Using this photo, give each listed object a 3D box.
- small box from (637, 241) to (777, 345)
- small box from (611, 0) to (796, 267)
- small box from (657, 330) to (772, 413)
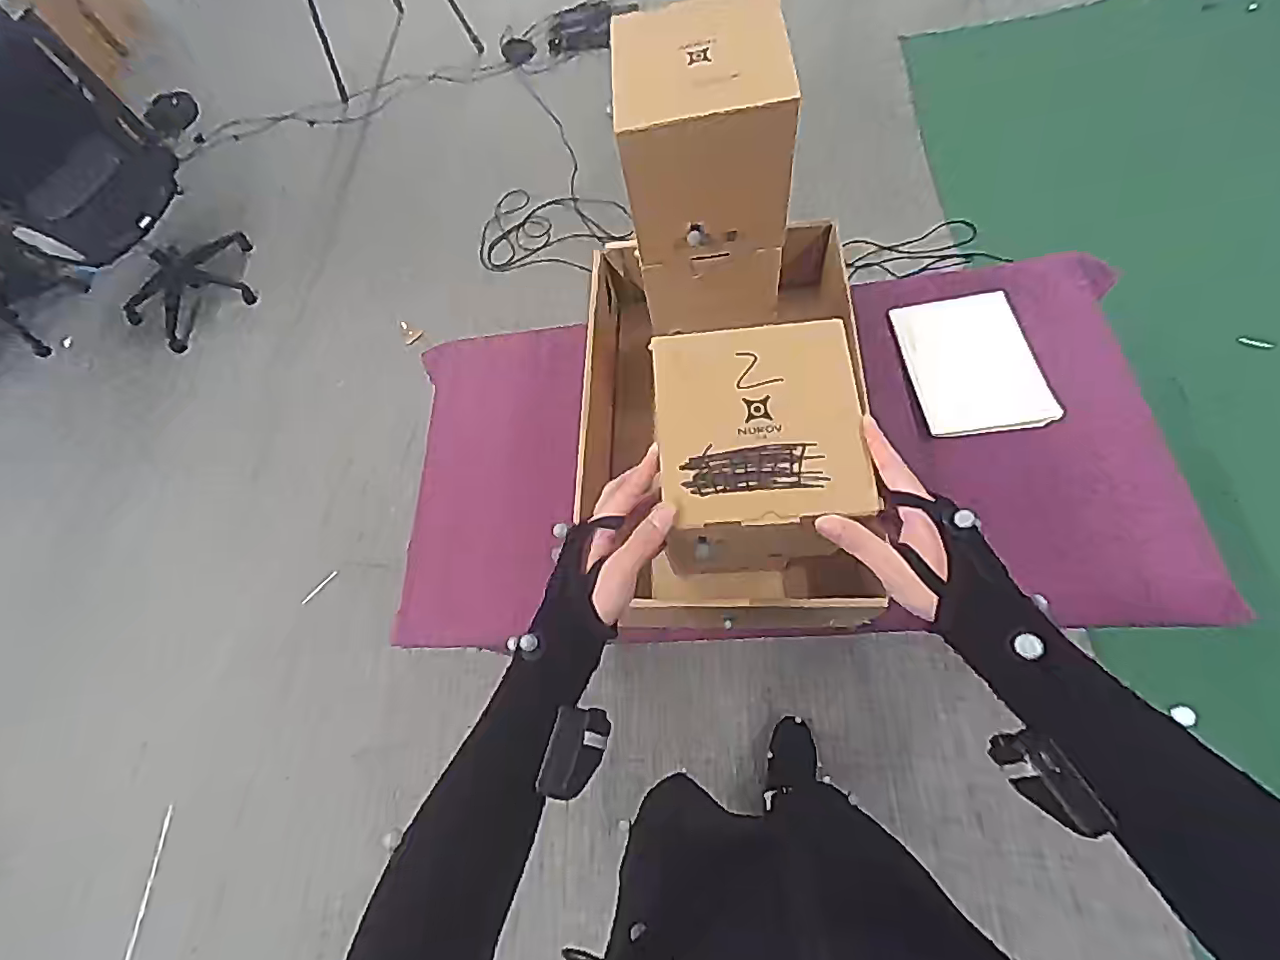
[{"bbox_3d":[0.090,-0.299,0.729,0.168,0.176,0.179,-5,66,7],"label":"small box"},{"bbox_3d":[0.066,-0.362,0.581,0.168,0.176,0.179,-5,67,8],"label":"small box"},{"bbox_3d":[0.116,-0.228,0.875,0.168,0.176,0.179,-4,67,8],"label":"small box"}]
